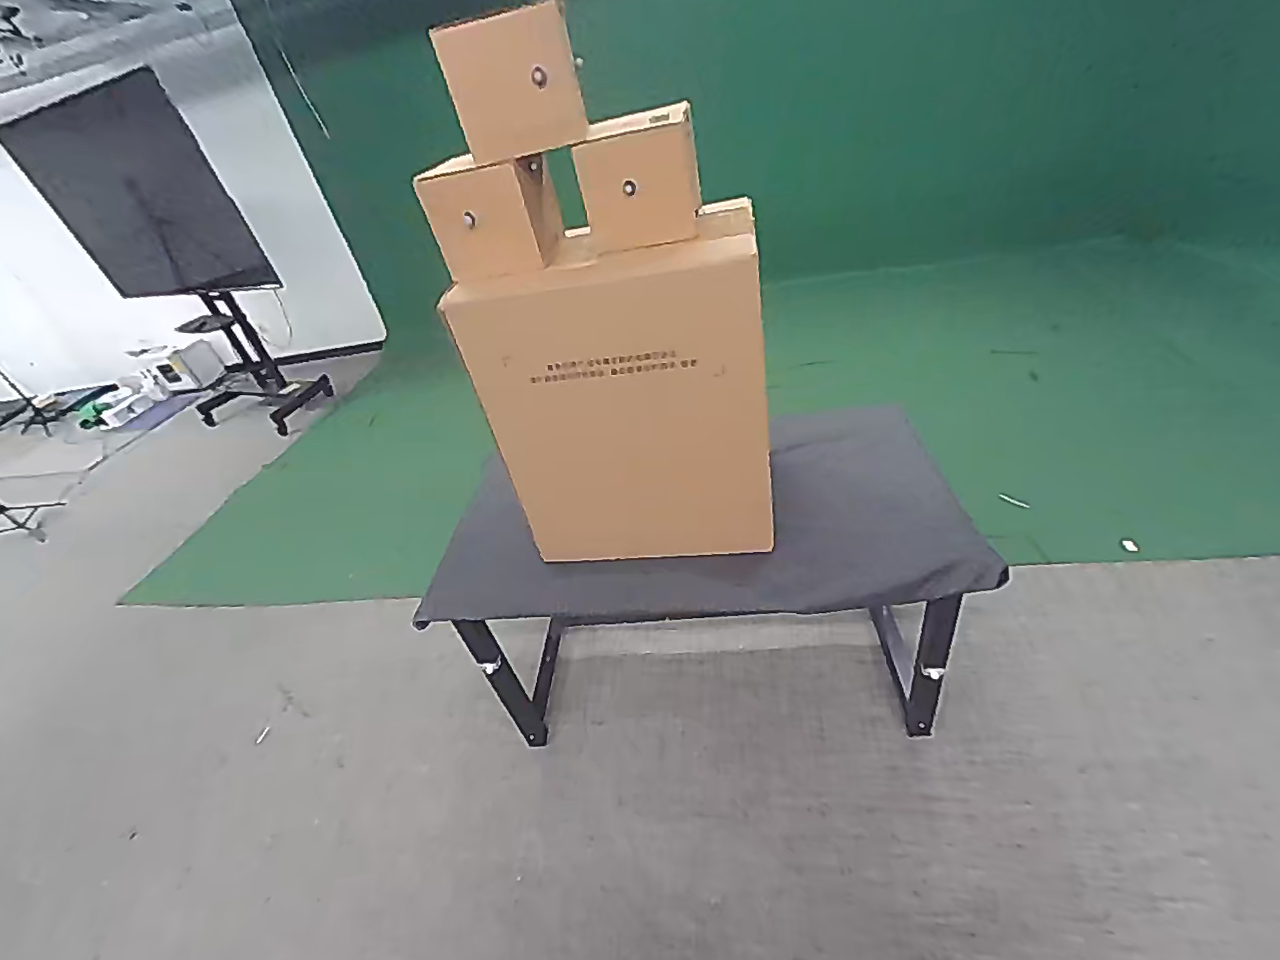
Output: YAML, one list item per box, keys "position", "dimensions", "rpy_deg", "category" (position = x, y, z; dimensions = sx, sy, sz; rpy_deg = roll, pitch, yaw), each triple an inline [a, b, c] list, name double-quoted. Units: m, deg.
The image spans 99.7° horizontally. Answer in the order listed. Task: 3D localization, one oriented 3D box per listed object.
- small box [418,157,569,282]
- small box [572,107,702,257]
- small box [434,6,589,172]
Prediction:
- position: [-0.245, -0.463, 0.952]
  dimensions: [0.179, 0.176, 0.168]
  rpy_deg: [-3, 41, 13]
  category: "small box"
- position: [0.007, -0.499, 0.912]
  dimensions: [0.179, 0.176, 0.168]
  rpy_deg: [-4, 41, 14]
  category: "small box"
- position: [-0.181, -0.597, 0.832]
  dimensions: [0.179, 0.176, 0.168]
  rpy_deg: [-11, 38, 6]
  category: "small box"
